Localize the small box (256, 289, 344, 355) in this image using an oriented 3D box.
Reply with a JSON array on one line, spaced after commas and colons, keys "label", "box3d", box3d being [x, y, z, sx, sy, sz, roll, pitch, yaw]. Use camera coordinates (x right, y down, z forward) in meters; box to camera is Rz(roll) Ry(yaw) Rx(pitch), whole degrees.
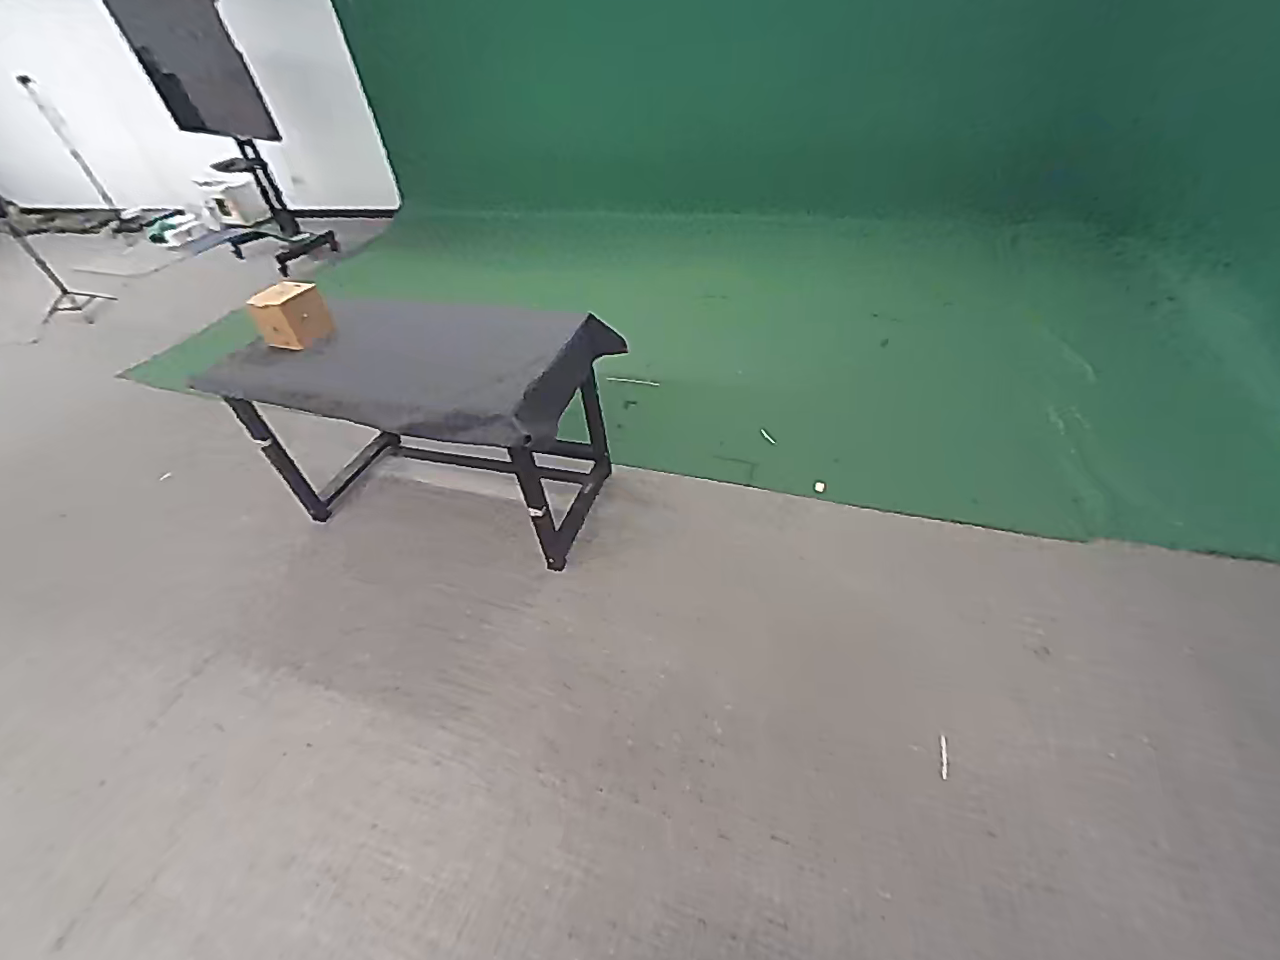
[{"label": "small box", "box3d": [-1.215, -0.569, 1.946, 0.168, 0.176, 0.179, 11, 45, 18]}]
